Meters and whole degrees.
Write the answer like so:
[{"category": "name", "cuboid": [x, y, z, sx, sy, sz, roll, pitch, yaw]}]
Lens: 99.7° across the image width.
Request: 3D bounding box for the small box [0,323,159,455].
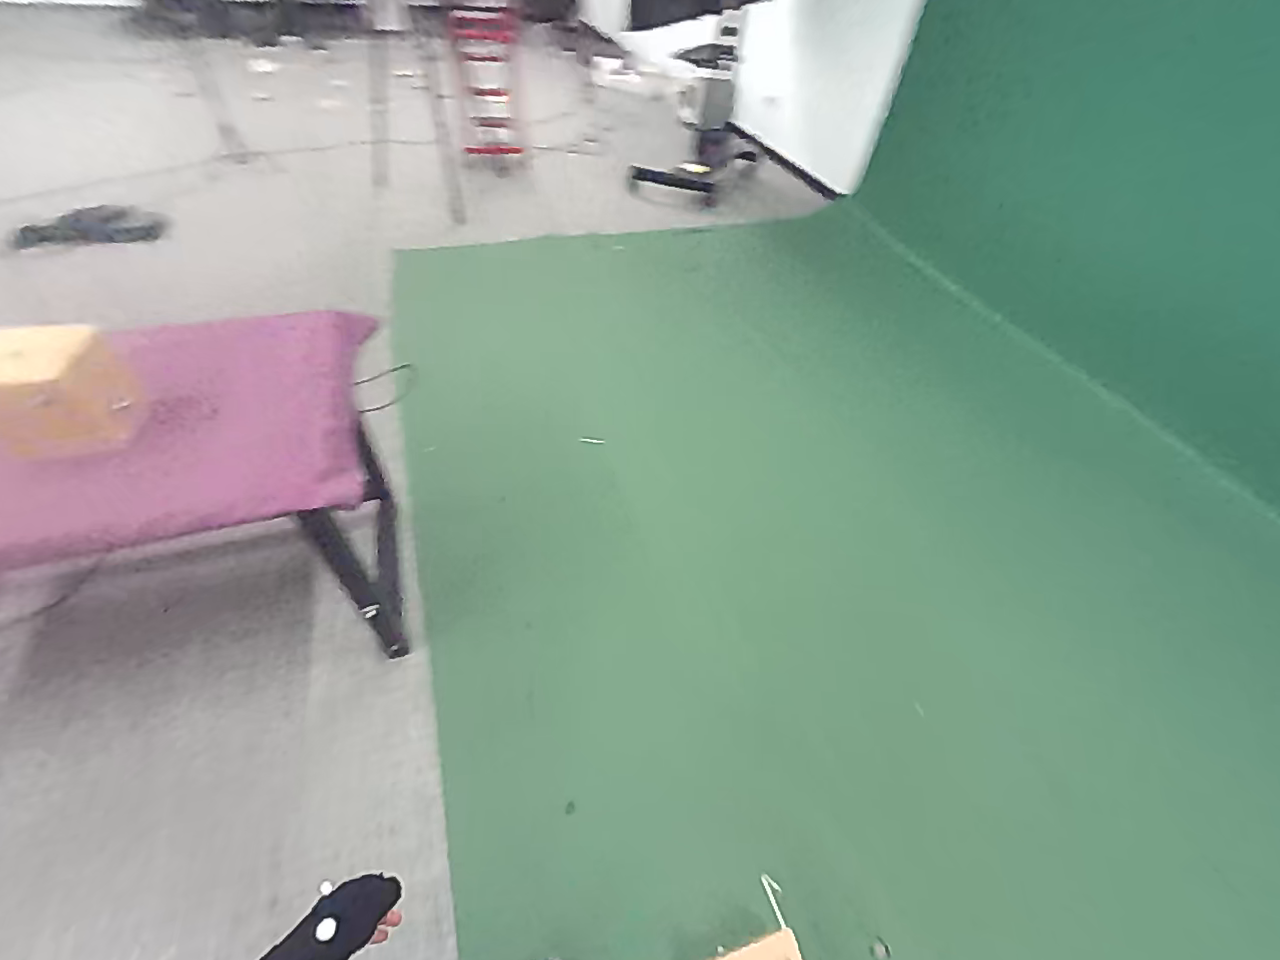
[{"category": "small box", "cuboid": [-1.035, -0.161, 0.970, 0.179, 0.176, 0.168, -7, 49, -11]}]
